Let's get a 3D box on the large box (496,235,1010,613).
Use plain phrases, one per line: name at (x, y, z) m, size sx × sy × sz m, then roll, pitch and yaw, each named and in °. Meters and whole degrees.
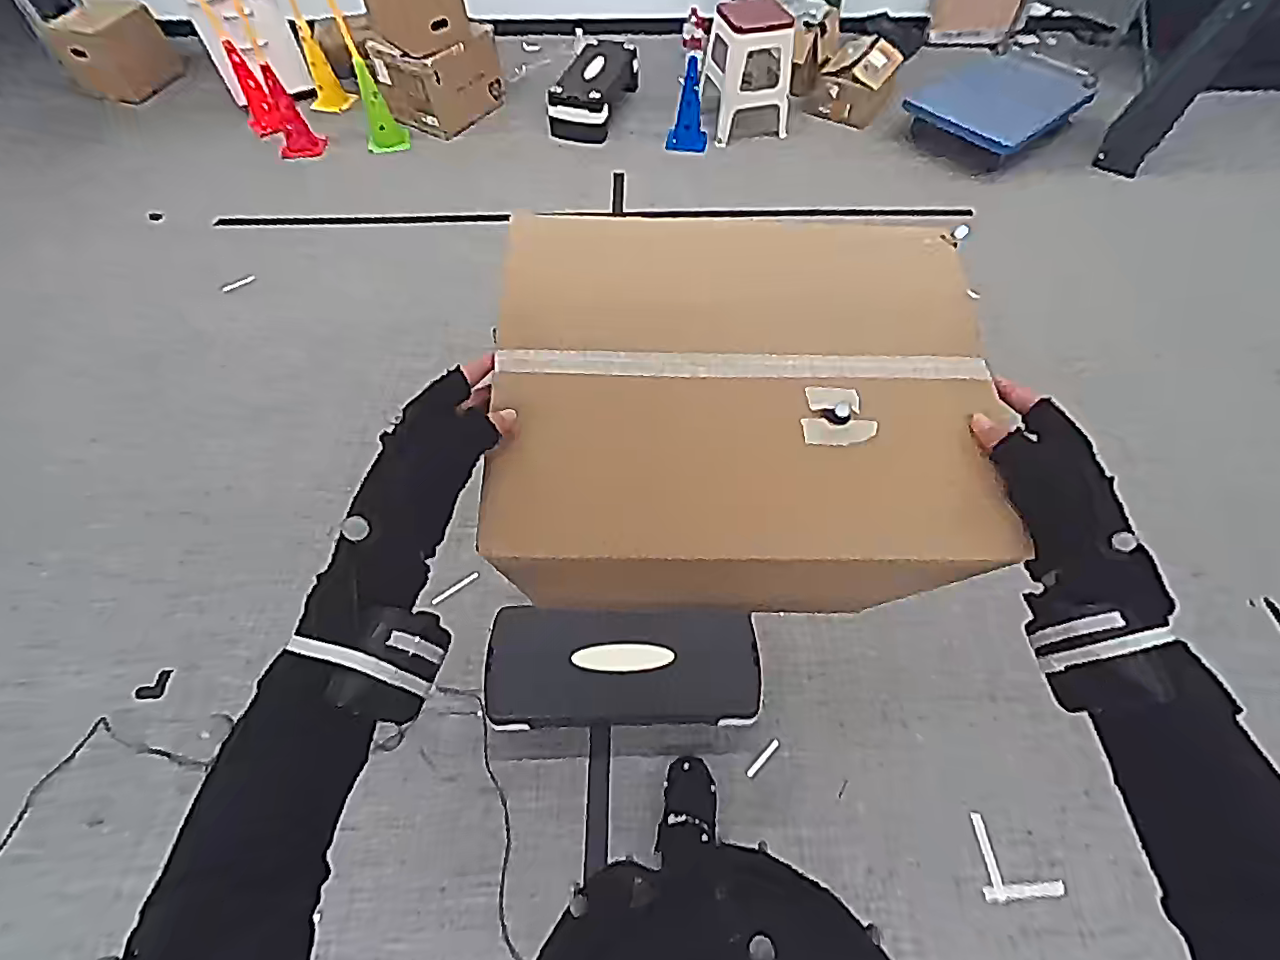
large box at (0.077, -0.033, 0.596) m, size 0.408 × 0.320 × 0.320 m, roll 0°, pitch 70°, yaw -3°
